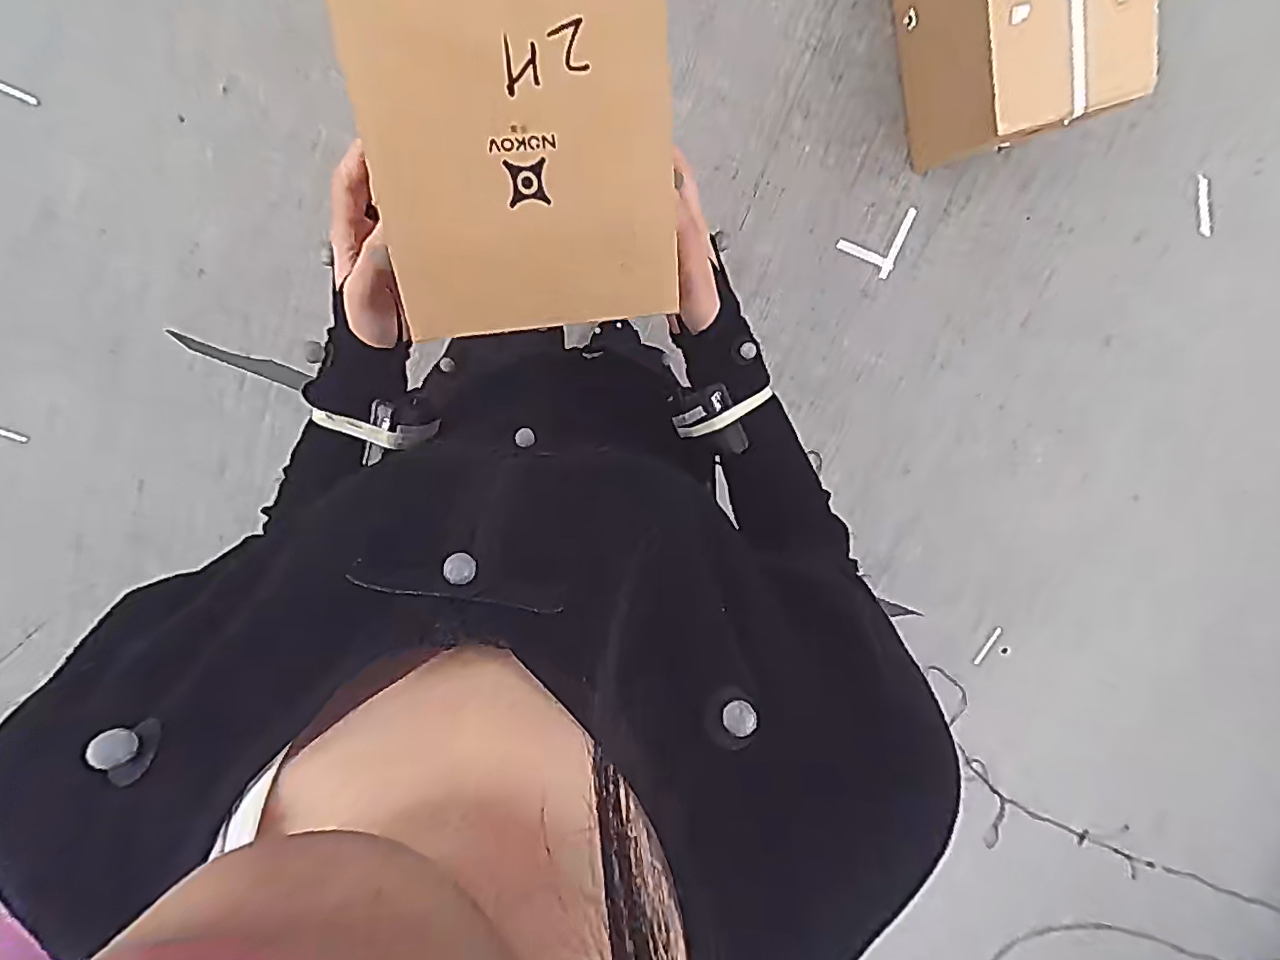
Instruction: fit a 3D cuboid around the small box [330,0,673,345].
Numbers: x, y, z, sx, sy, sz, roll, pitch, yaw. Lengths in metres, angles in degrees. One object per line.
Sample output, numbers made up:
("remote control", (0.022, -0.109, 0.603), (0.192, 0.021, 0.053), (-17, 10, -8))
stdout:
("small box", (-0.077, -0.204, 0.371), (0.168, 0.176, 0.179), (-9, 116, -8))
